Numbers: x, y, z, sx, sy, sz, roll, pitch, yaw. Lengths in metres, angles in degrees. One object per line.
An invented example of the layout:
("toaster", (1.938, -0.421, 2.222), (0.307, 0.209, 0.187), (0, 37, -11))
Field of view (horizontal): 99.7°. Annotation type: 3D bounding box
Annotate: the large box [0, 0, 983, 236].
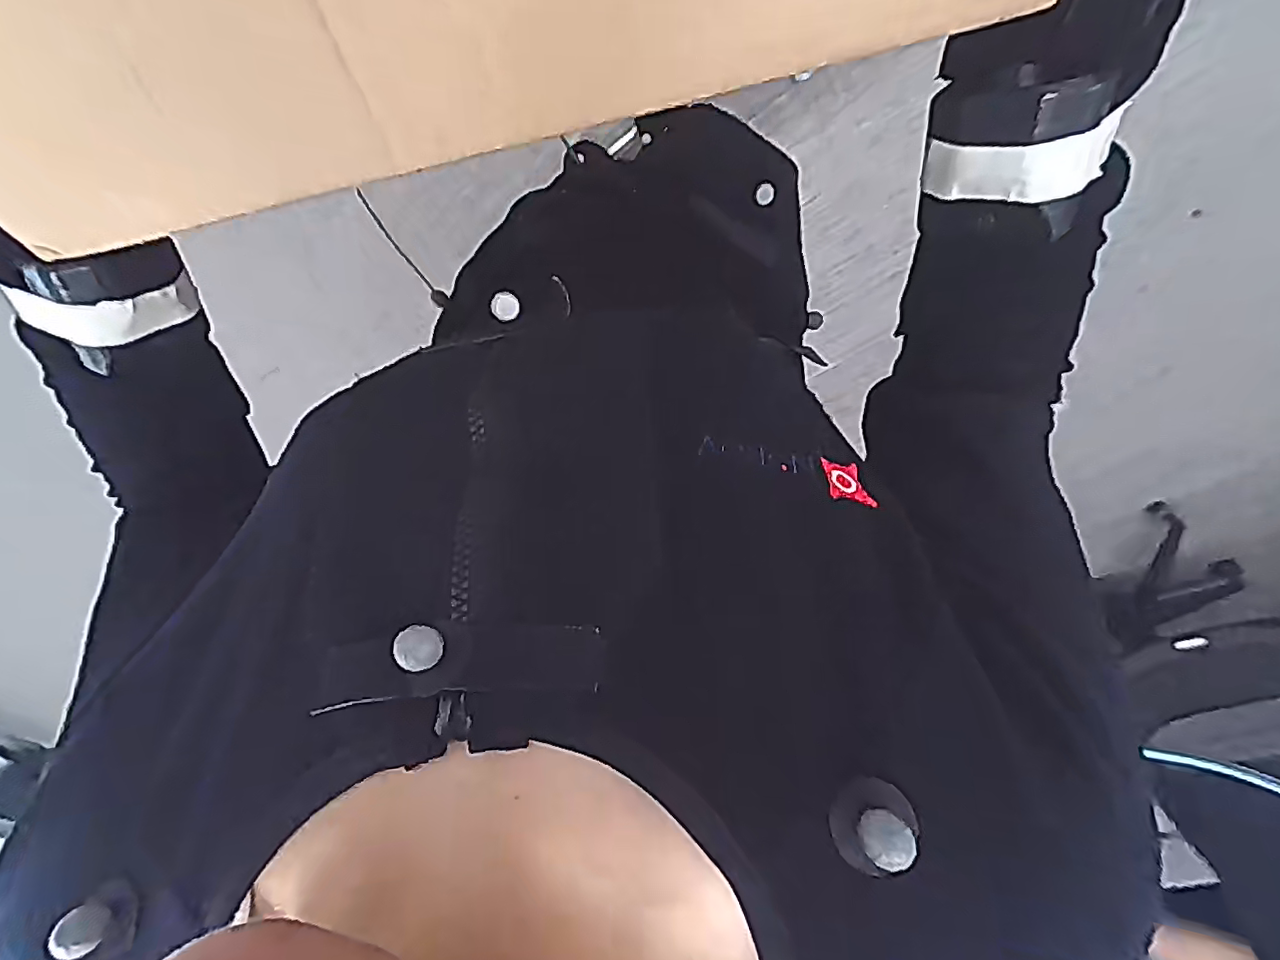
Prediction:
("large box", (-0.090, -0.350, 0.201), (0.408, 0.320, 0.320), (-9, 137, 7))
